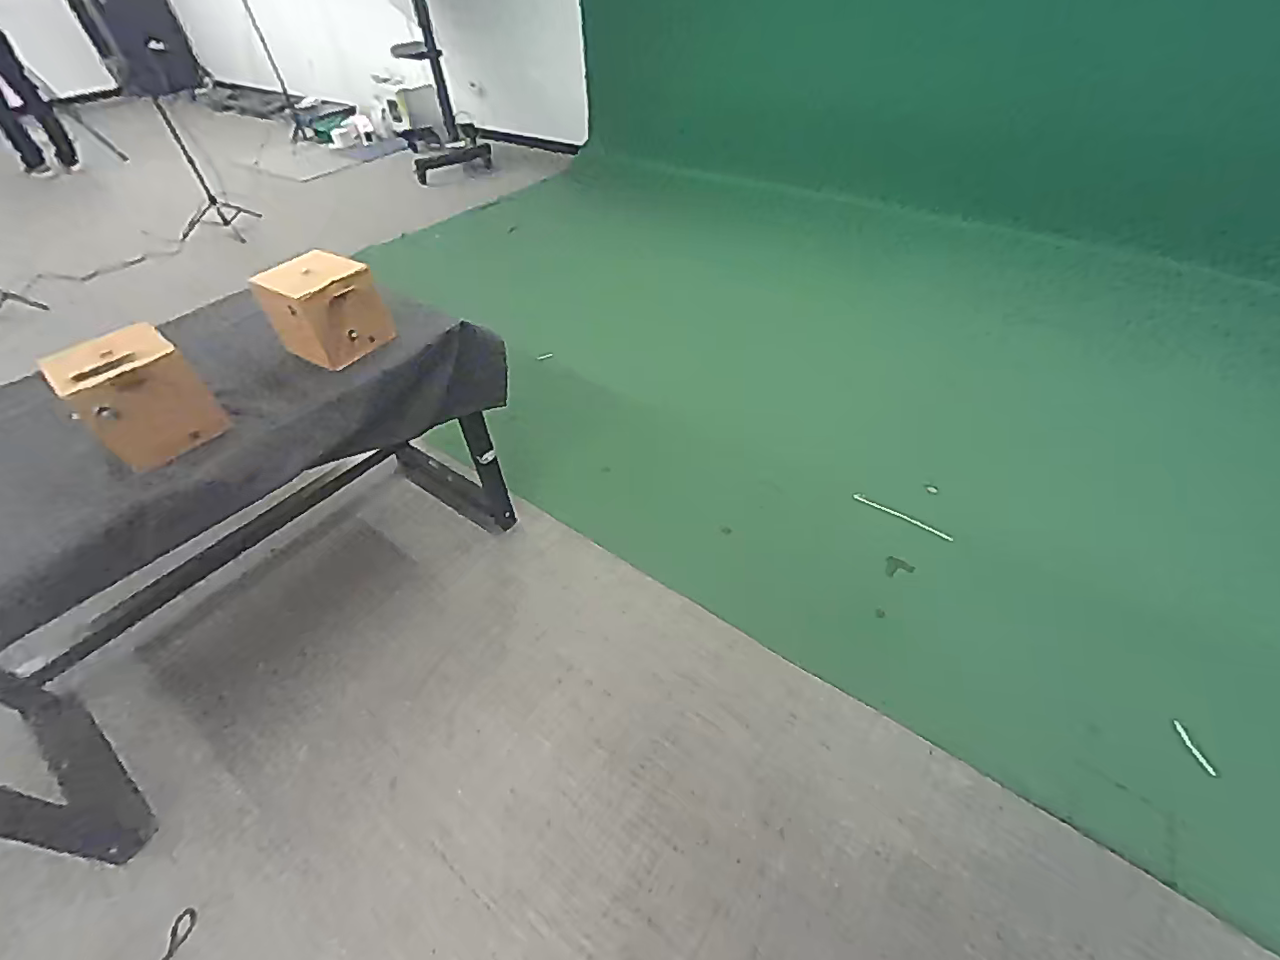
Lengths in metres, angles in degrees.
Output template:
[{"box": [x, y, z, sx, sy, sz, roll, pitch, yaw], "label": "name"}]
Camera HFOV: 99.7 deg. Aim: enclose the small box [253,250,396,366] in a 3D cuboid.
[{"box": [-0.666, -0.367, 1.158, 0.179, 0.176, 0.168, 23, 51, 23], "label": "small box"}]
